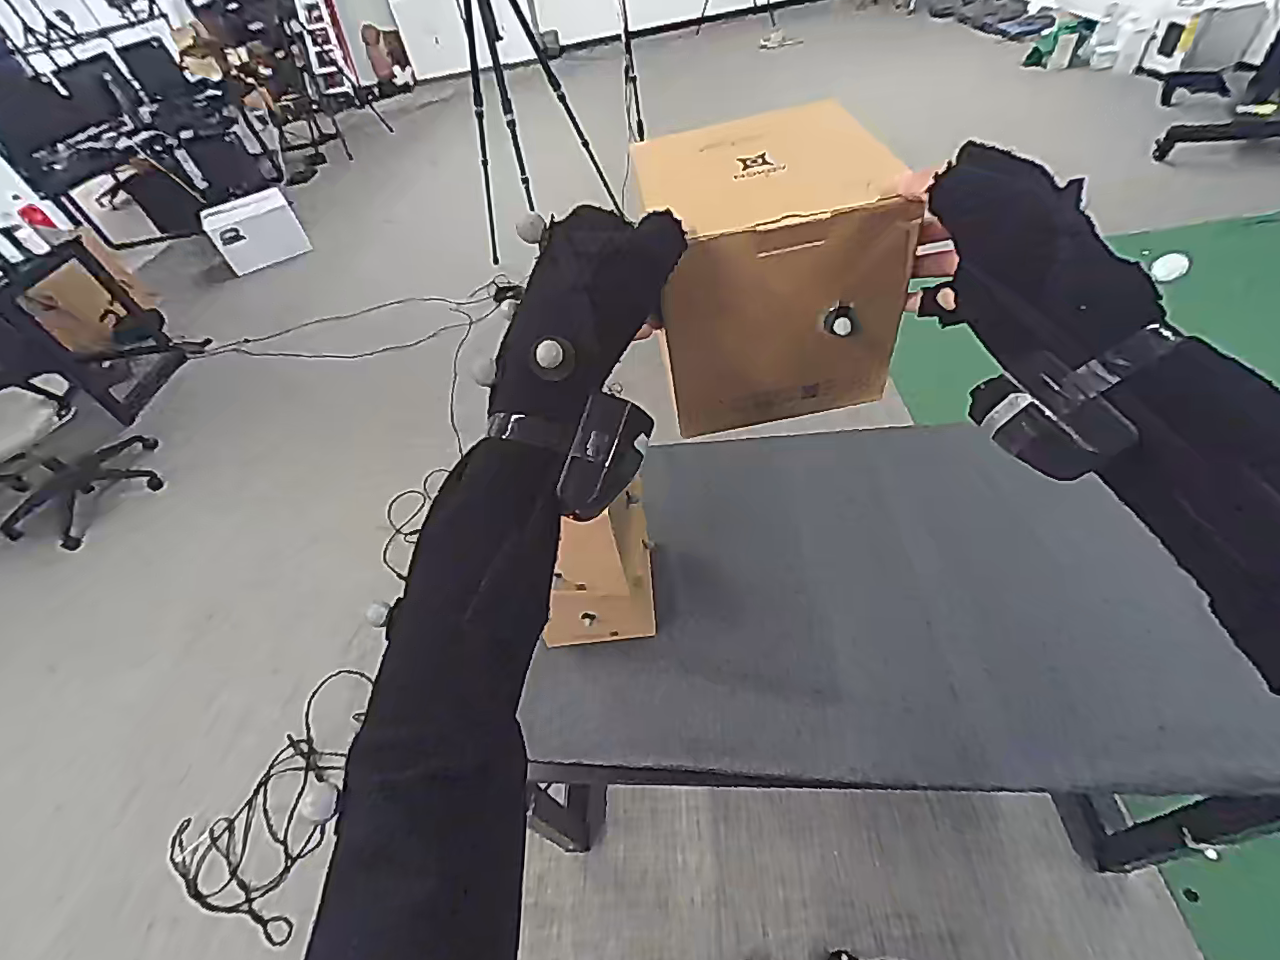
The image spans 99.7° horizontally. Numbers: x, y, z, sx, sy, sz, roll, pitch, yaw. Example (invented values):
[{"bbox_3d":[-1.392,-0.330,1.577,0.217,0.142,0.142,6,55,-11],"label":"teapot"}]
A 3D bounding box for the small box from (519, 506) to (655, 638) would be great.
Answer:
[{"bbox_3d":[-0.071,0.122,0.808,0.168,0.176,0.179,-7,47,3],"label":"small box"}]

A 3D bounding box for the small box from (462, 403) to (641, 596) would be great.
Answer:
[{"bbox_3d":[-0.093,0.024,0.676,0.168,0.176,0.179,-1,48,9],"label":"small box"}]
